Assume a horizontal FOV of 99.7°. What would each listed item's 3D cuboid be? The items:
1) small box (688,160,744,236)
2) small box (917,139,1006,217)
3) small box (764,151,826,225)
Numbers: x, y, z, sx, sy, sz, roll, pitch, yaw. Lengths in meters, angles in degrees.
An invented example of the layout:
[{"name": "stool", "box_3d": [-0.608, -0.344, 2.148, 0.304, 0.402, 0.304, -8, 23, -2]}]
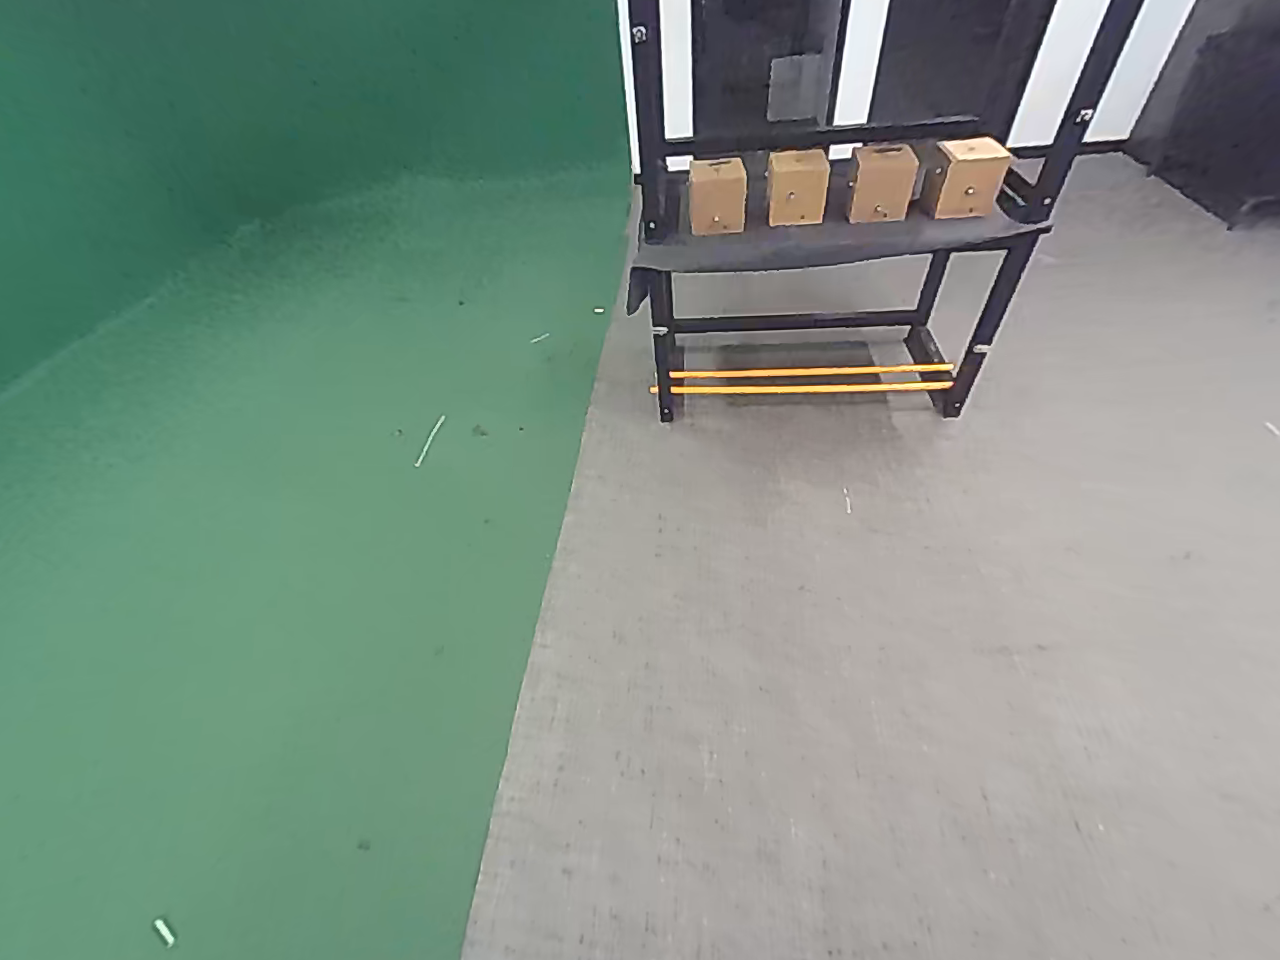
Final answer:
[{"name": "small box", "box_3d": [0.238, -0.905, 1.736, 0.168, 0.176, 0.179, -3, 47, 4]}, {"name": "small box", "box_3d": [0.979, -0.924, 1.664, 0.168, 0.176, 0.179, 0, 46, 6]}, {"name": "small box", "box_3d": [0.490, -0.931, 1.734, 0.168, 0.176, 0.179, 0, 47, 7]}]
